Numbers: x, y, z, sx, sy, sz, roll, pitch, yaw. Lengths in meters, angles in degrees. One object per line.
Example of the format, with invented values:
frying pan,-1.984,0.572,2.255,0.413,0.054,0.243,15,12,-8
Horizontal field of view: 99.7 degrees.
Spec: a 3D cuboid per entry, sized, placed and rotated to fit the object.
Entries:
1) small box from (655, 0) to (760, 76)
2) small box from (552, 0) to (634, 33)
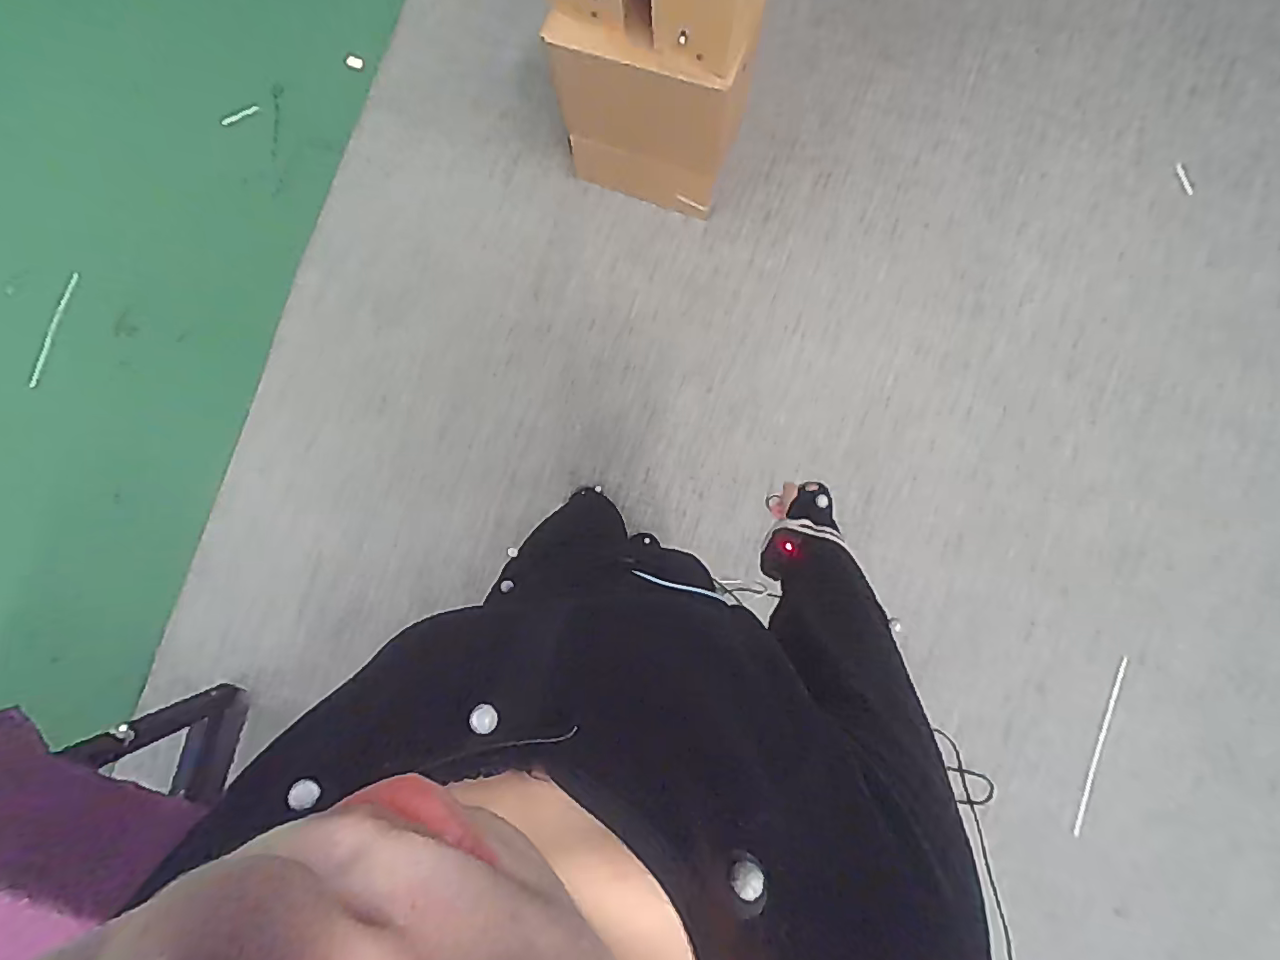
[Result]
small box,0.132,-0.920,1.010,0.168,0.176,0.179,26,89,5
small box,-0.083,-1.012,1.025,0.168,0.176,0.179,20,88,1
